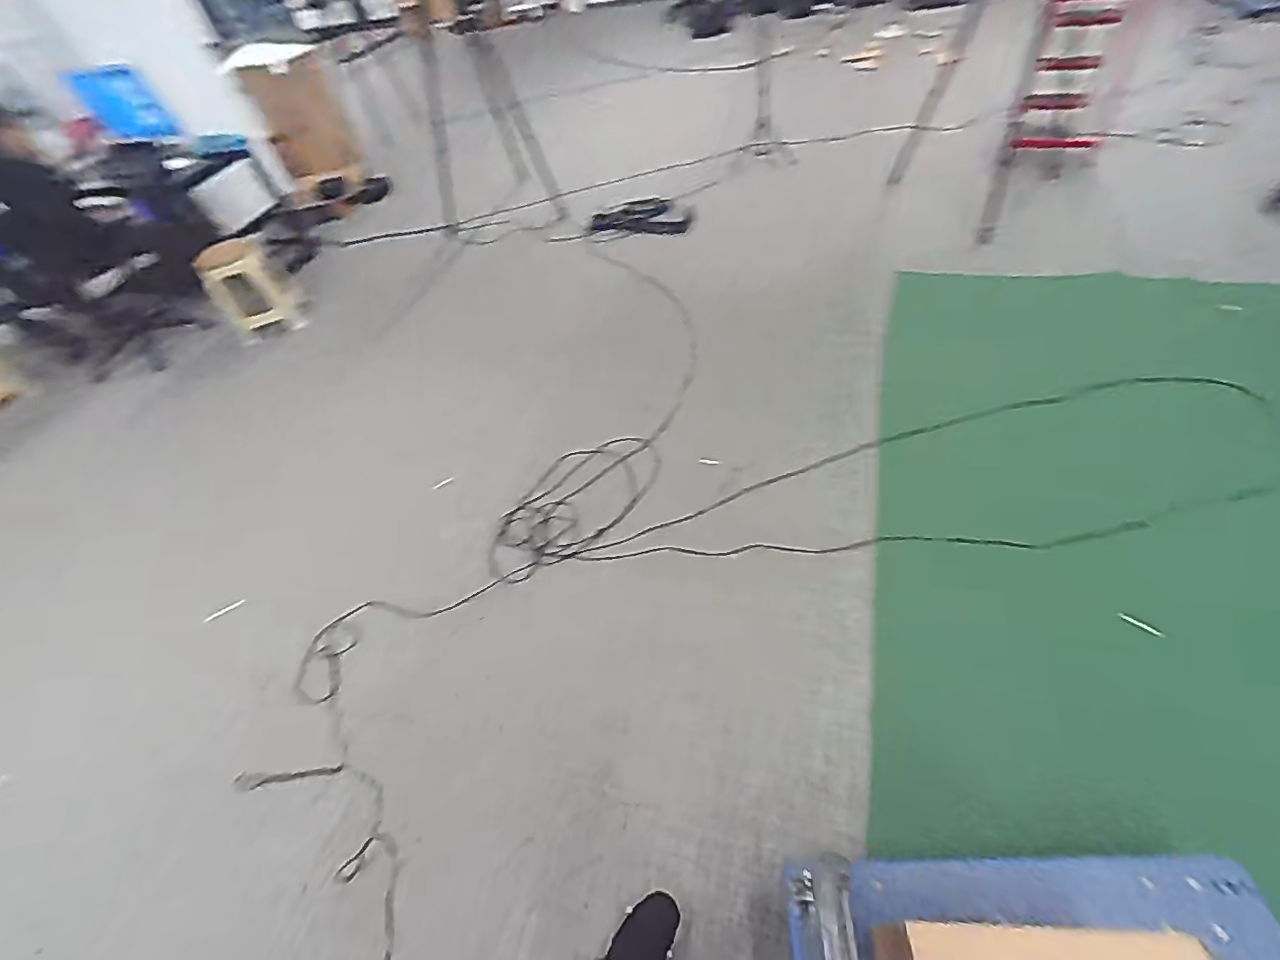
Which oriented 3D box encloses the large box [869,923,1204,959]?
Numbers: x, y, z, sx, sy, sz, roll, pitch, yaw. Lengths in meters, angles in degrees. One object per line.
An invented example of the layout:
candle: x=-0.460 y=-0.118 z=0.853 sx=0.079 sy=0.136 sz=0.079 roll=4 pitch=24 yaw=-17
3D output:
large box: x=0.611 y=0.879 z=0.813 sx=0.408 sy=0.320 sz=0.320 roll=-3 pitch=50 yaw=7
